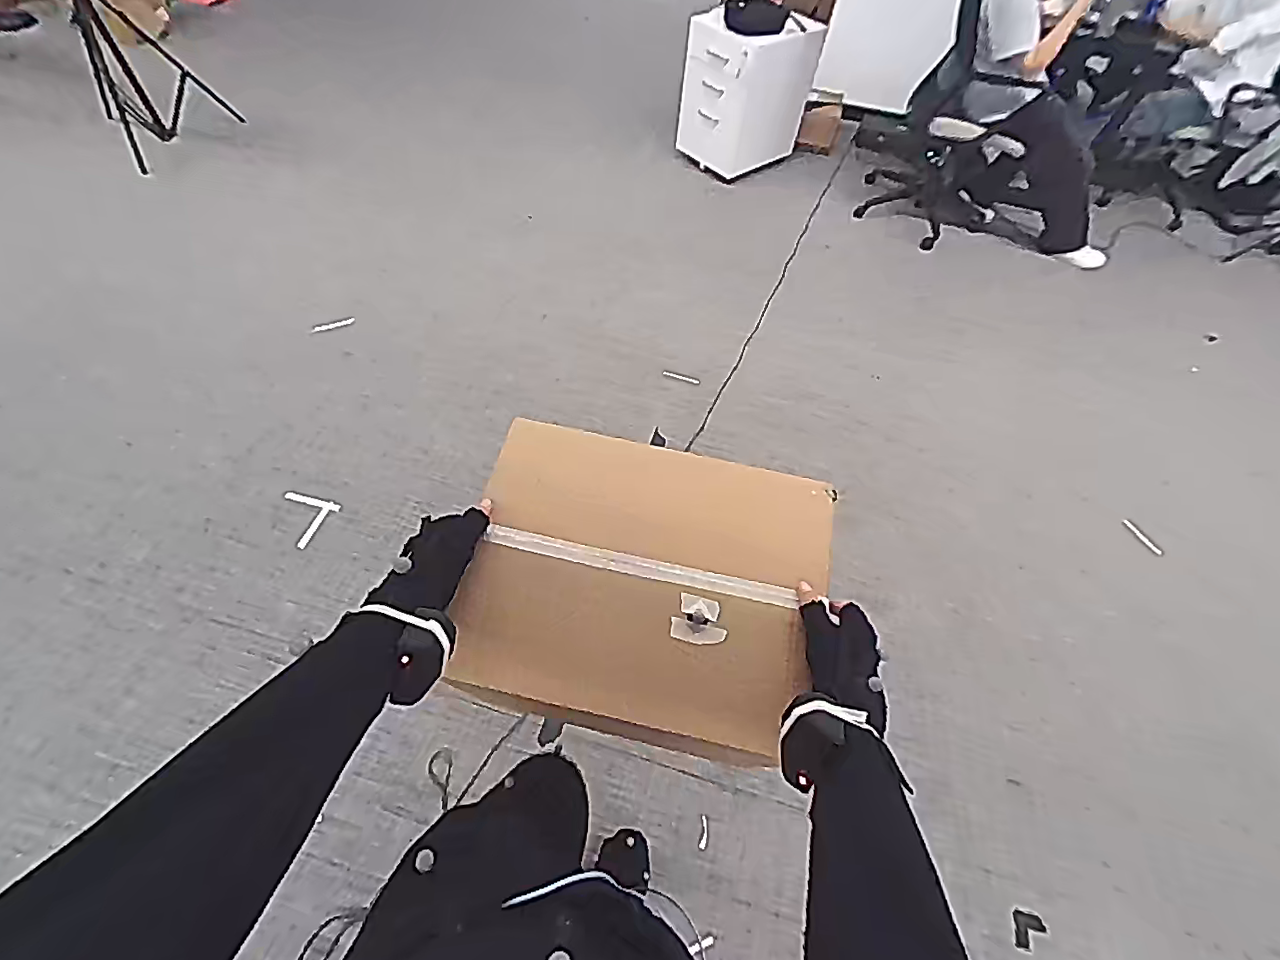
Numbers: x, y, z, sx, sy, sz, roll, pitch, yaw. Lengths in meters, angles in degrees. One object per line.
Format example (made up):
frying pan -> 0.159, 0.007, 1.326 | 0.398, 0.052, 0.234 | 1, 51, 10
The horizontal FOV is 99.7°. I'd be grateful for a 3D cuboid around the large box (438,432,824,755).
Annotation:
large box -> 0.000, 0.174, 0.753 | 0.408, 0.320, 0.320 | 12, 64, 2
